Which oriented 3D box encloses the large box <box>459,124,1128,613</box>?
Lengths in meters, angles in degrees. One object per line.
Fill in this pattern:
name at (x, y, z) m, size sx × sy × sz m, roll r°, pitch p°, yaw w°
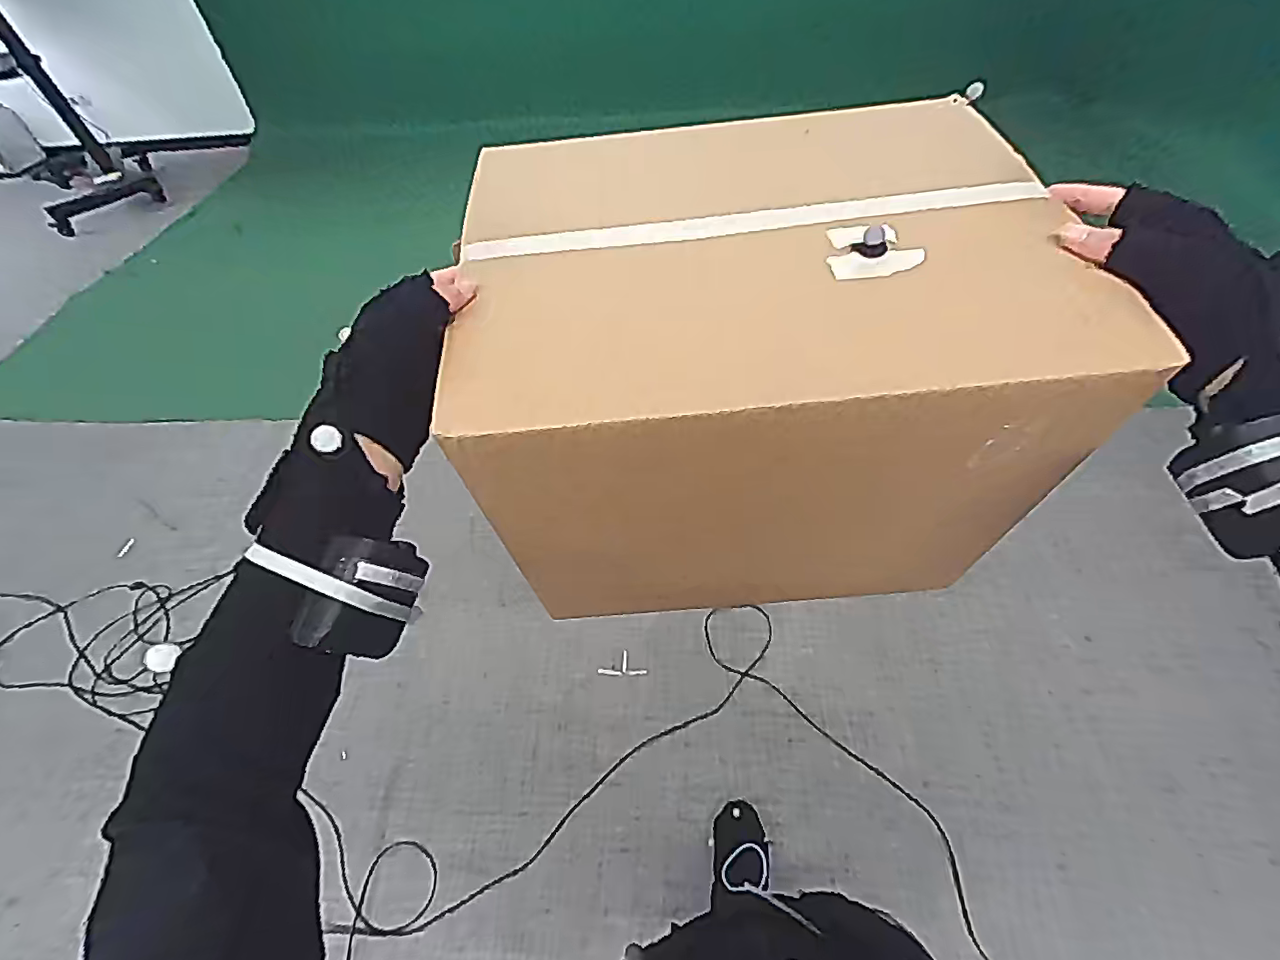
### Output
large box at (0.085, -0.087, 0.519) m, size 0.408 × 0.320 × 0.320 m, roll -5°, pitch 57°, yaw 1°
